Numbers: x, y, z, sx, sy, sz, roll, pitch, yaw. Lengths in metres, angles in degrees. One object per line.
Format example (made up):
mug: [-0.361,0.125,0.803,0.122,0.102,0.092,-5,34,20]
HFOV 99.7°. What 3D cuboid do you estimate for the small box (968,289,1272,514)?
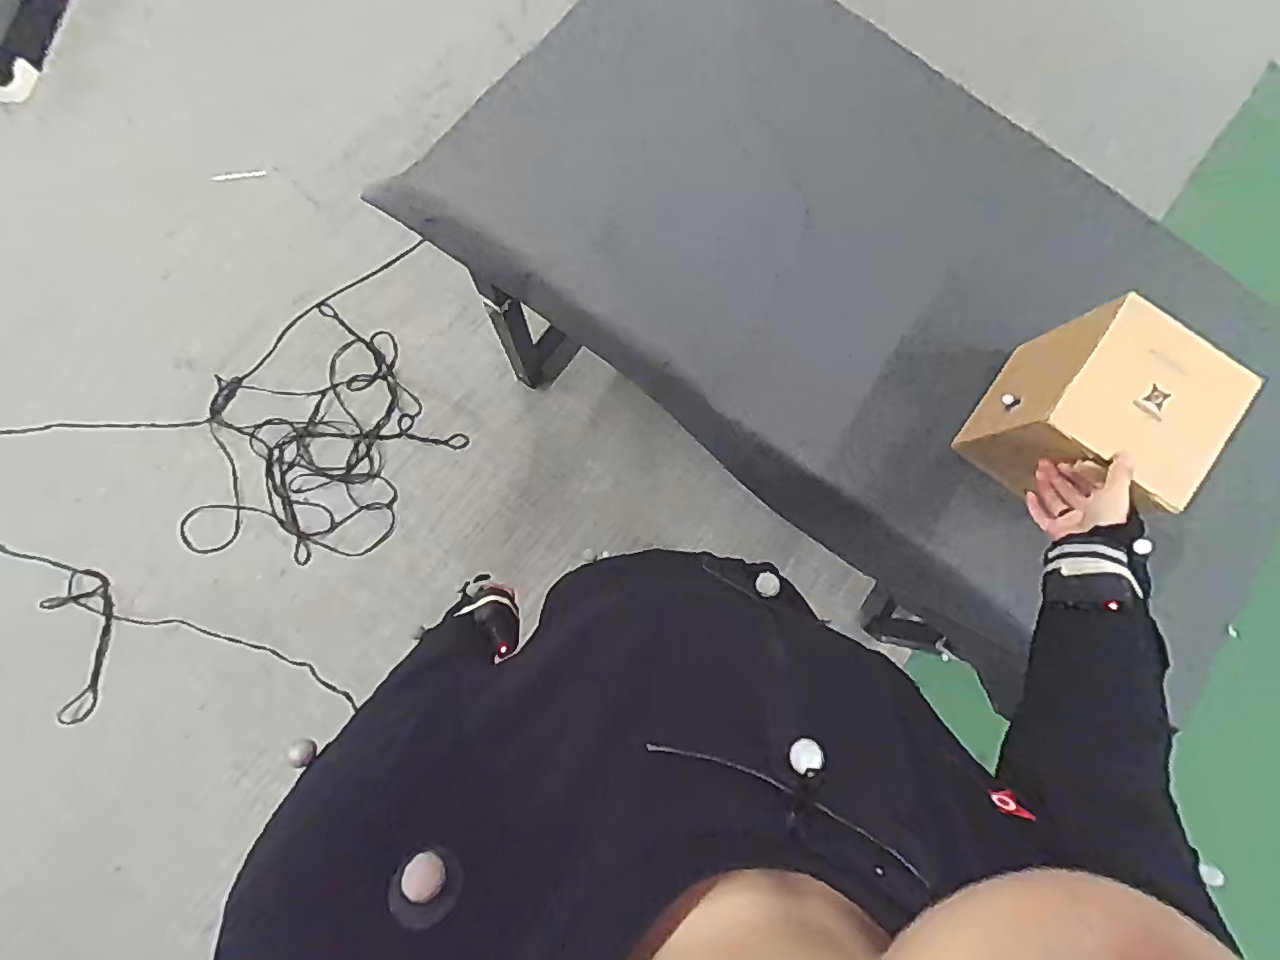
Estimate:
small box: [0.525,-0.073,0.624,0.168,0.176,0.179,37,84,2]
